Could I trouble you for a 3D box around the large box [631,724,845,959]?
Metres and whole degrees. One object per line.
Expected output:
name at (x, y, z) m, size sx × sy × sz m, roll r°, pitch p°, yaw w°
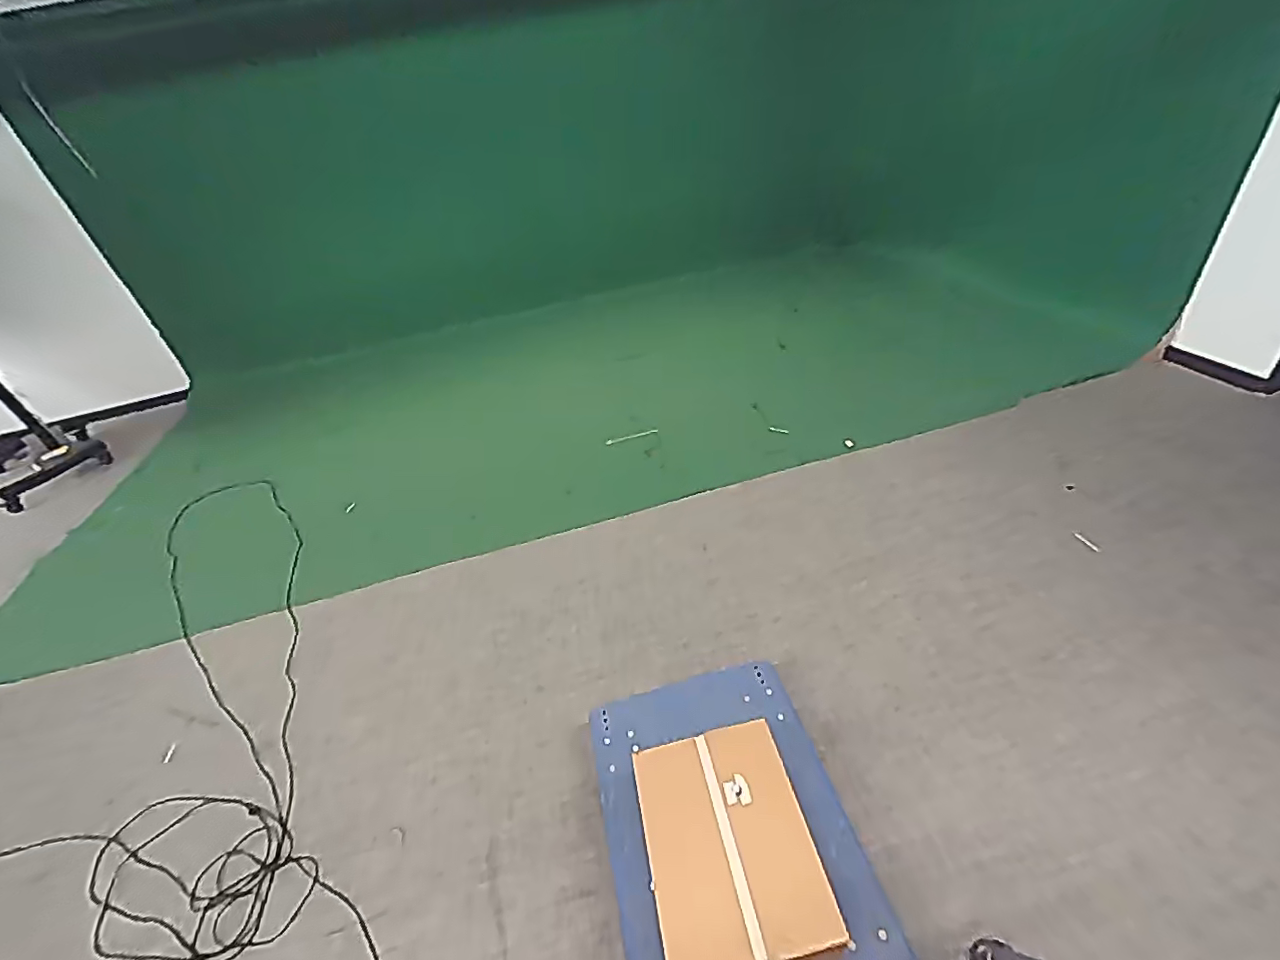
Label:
large box at (0.189, 0.817, 1.143) m, size 0.320 × 0.320 × 0.408 m, roll -13°, pitch 36°, yaw -3°
